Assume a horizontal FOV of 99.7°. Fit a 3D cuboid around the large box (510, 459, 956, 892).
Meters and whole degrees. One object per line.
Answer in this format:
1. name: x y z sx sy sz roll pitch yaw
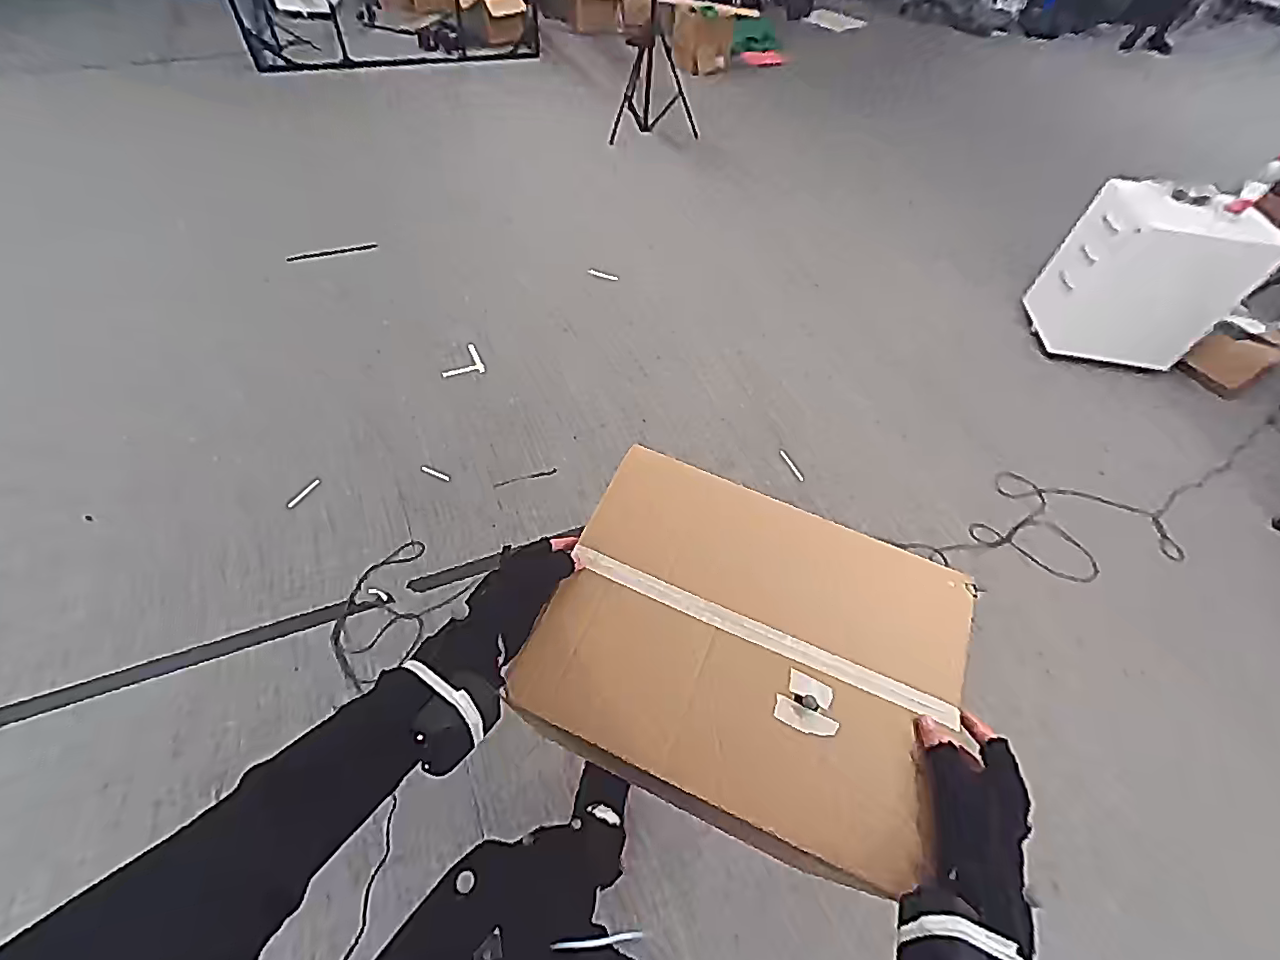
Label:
1. large box: 0.102 0.236 0.687 0.408 0.320 0.320 23 61 9
